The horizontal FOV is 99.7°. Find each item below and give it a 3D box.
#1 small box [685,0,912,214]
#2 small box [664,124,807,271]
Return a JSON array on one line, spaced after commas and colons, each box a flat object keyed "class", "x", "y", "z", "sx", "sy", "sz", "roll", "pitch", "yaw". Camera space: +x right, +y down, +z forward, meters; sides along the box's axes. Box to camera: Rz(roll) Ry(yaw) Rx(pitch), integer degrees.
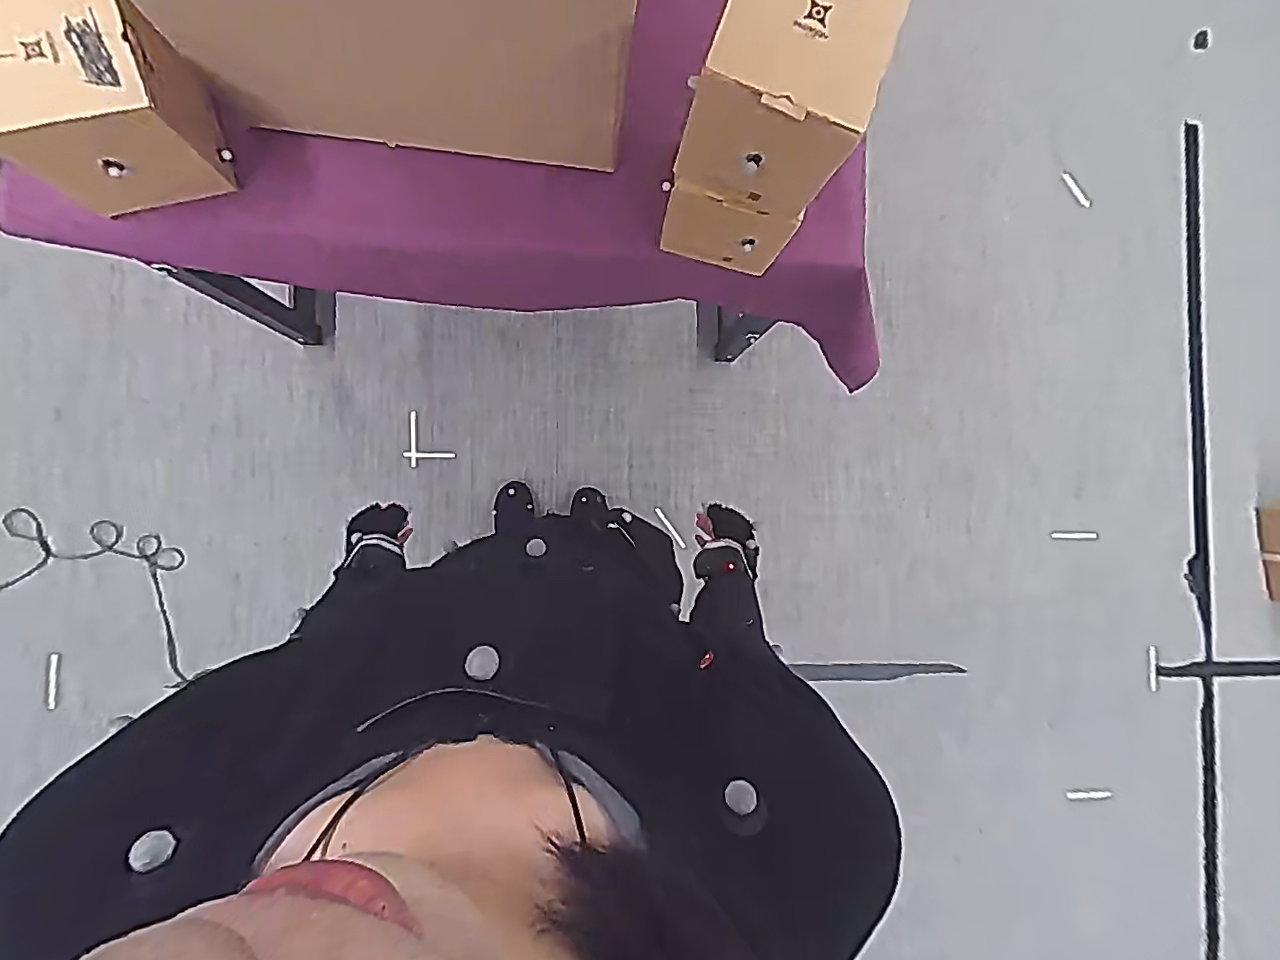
[{"class": "small box", "x": 0.157, "y": -0.430, "z": 0.589, "sx": 0.168, "sy": 0.176, "sz": 0.179, "roll": 20, "pitch": 87, "yaw": -5}, {"class": "small box", "x": 0.136, "y": -0.419, "z": 0.751, "sx": 0.168, "sy": 0.176, "sz": 0.179, "roll": 13, "pitch": 86, "yaw": -6}]
